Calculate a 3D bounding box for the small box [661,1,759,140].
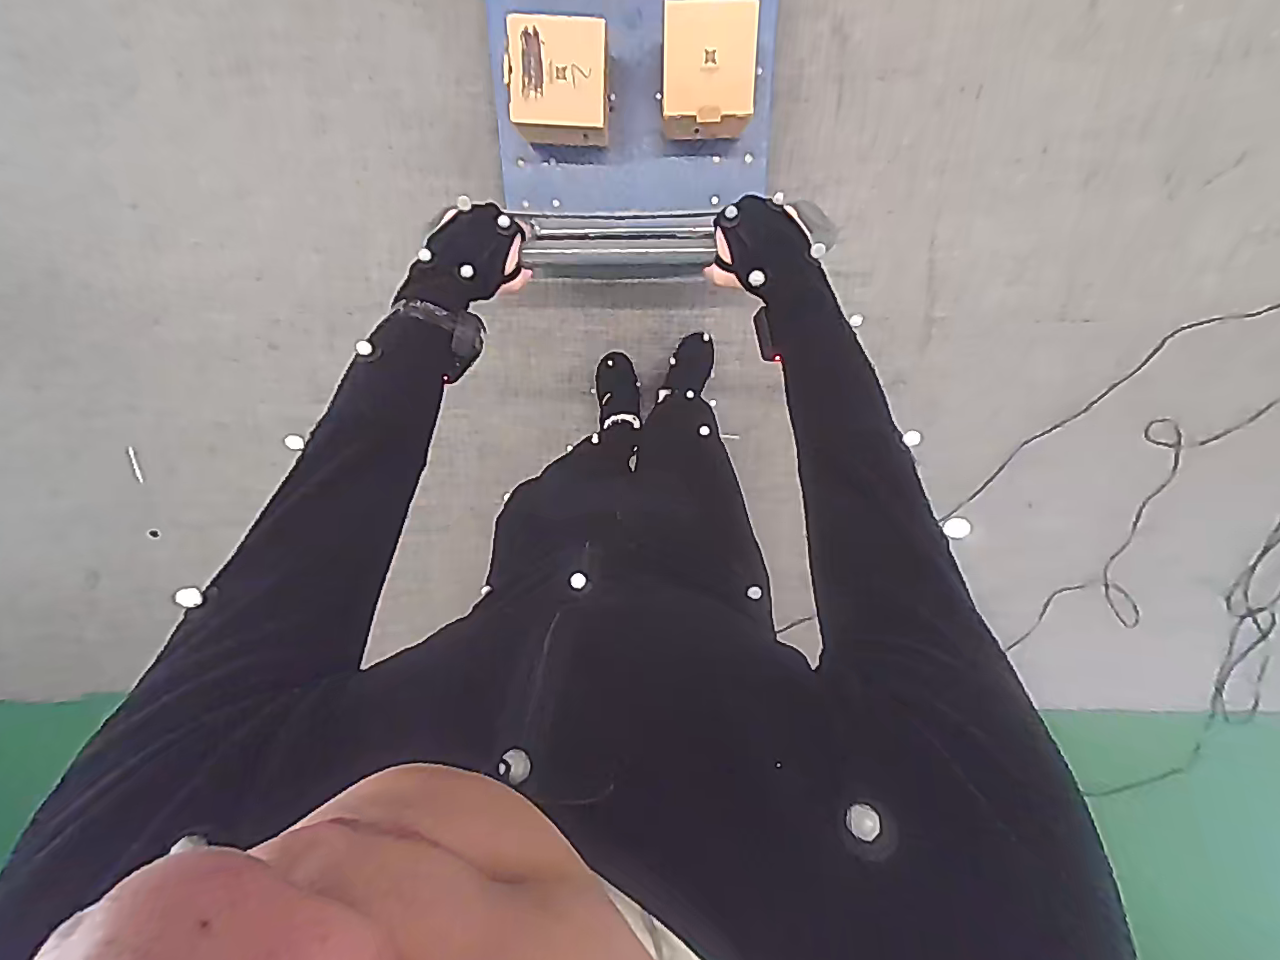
[{"bbox_3d":[0.125,-0.774,1.039,0.168,0.176,0.179,-1,112,1],"label":"small box"}]
